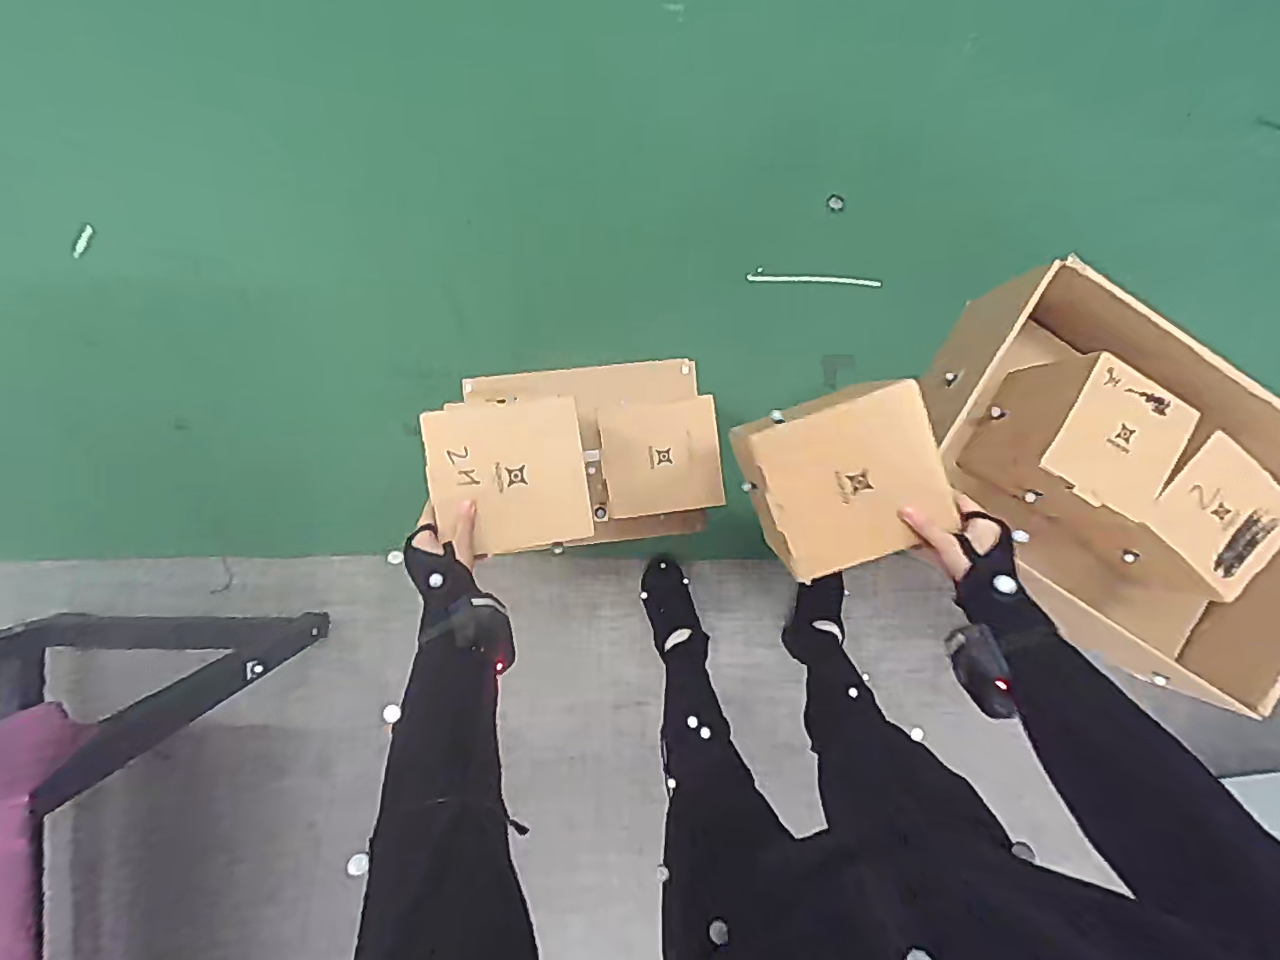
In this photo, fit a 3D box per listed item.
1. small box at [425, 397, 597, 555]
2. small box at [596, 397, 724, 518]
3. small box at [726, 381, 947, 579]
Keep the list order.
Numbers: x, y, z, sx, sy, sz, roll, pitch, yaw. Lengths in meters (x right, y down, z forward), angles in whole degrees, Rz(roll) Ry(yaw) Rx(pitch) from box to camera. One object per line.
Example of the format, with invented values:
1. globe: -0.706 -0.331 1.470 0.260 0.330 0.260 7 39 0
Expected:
1. small box: -0.156 -0.006 0.689 0.179 0.176 0.168 -8 90 -7
2. small box: 0.027 -0.035 0.869 0.179 0.176 0.168 -7 93 -3
3. small box: 0.215 -0.009 0.639 0.179 0.176 0.168 -21 95 6
